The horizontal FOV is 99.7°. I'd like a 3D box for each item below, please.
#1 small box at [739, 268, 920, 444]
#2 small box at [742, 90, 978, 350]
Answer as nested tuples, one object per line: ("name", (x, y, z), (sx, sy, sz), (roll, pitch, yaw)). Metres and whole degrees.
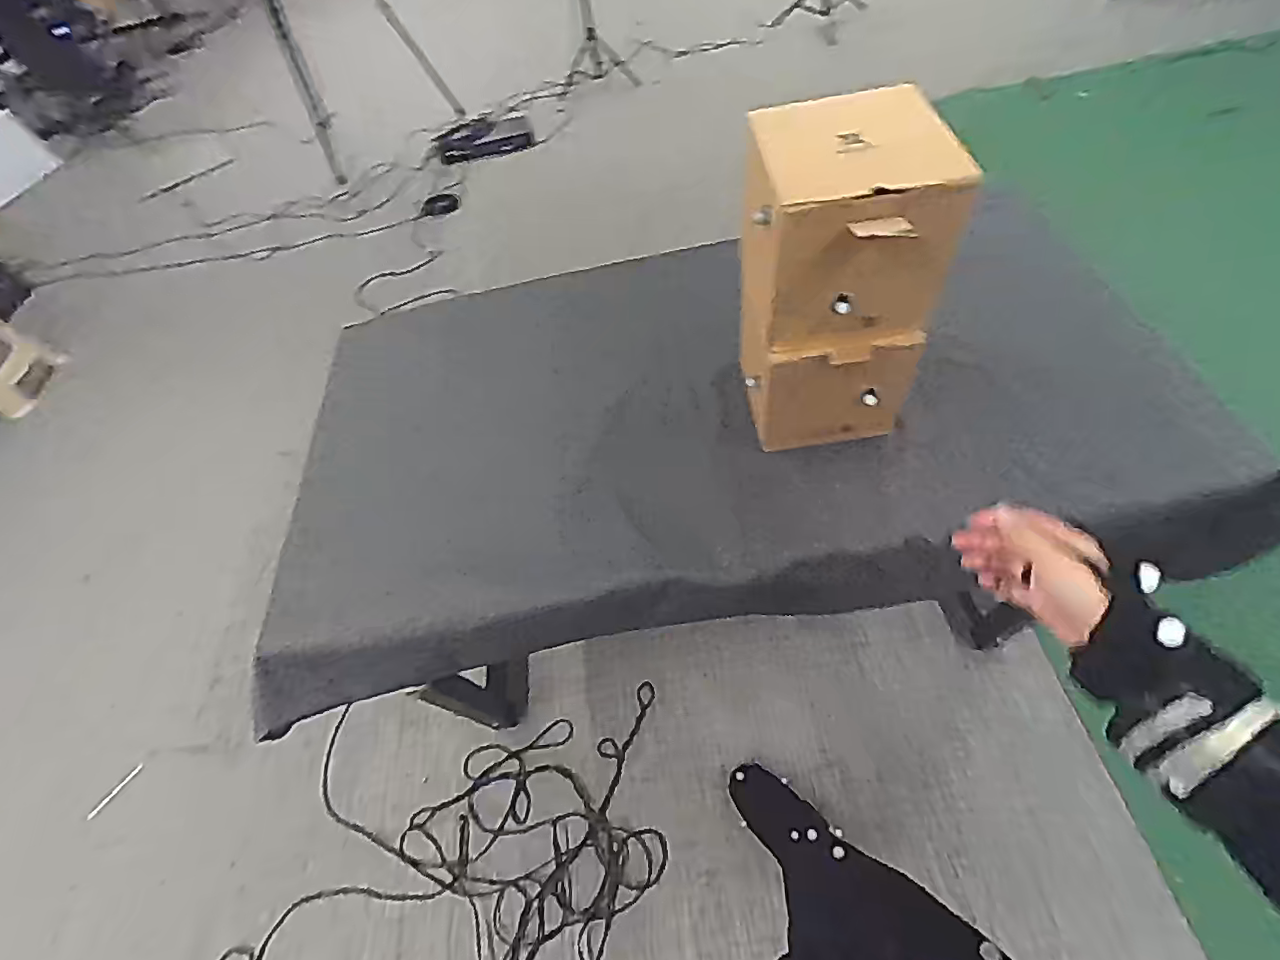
("small box", (0.222, -0.160, 0.686), (0.168, 0.176, 0.179), (-8, 55, 4))
("small box", (0.201, -0.262, 0.560), (0.168, 0.176, 0.179), (-7, 57, 4))
